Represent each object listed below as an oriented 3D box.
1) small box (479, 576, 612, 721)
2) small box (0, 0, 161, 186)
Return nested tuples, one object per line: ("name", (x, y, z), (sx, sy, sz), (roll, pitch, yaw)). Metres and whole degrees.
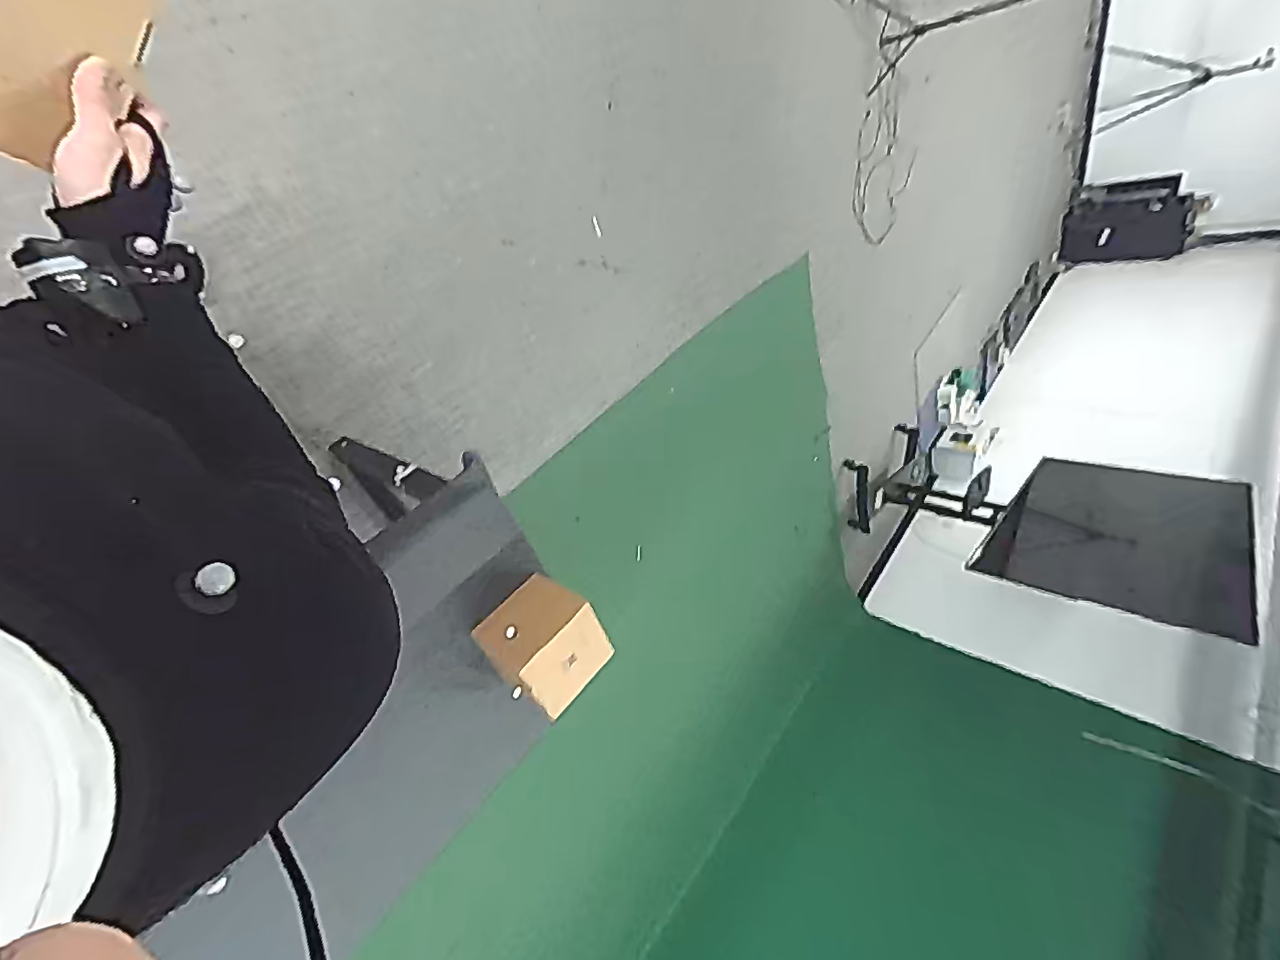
("small box", (-0.190, 0.322, 1.061), (0.179, 0.176, 0.168), (-41, 132, -31))
("small box", (-0.476, -0.345, 0.357), (0.168, 0.176, 0.179), (-53, 157, 16))
